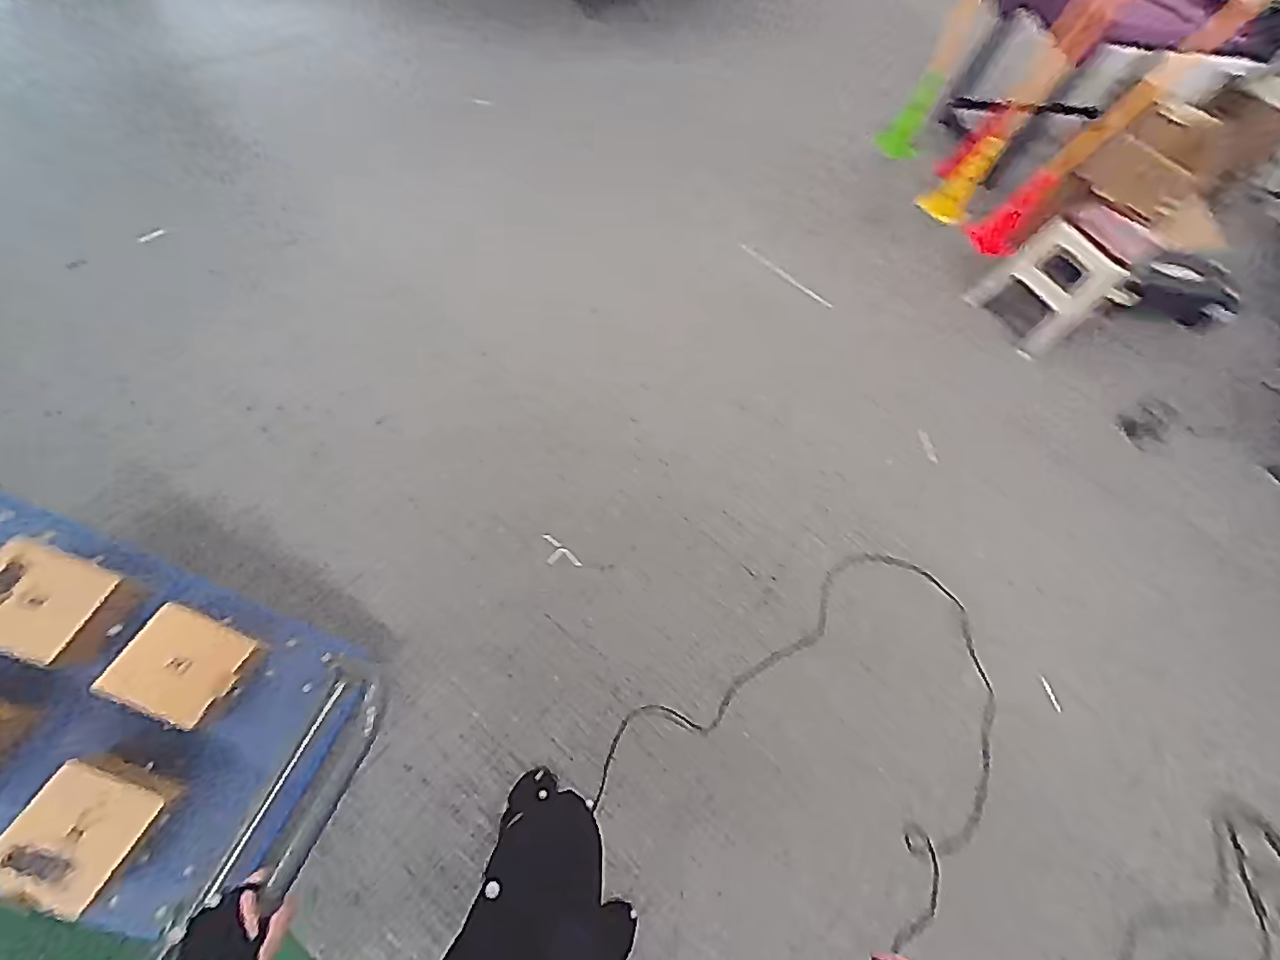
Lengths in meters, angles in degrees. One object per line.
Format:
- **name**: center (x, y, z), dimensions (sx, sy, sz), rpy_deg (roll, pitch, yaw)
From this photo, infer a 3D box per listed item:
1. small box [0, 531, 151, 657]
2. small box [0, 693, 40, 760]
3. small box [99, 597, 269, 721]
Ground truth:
- **small box**: center (-1.073, 0.219, 0.998), dimensions (0.179, 0.176, 0.168), rpy_deg (30, 62, -15)
- **small box**: center (-1.164, 0.426, 0.877), dimensions (0.179, 0.176, 0.168), rpy_deg (28, 61, -16)
- **small box**: center (-0.871, 0.352, 1.056), dimensions (0.179, 0.176, 0.168), rpy_deg (34, 60, -14)
